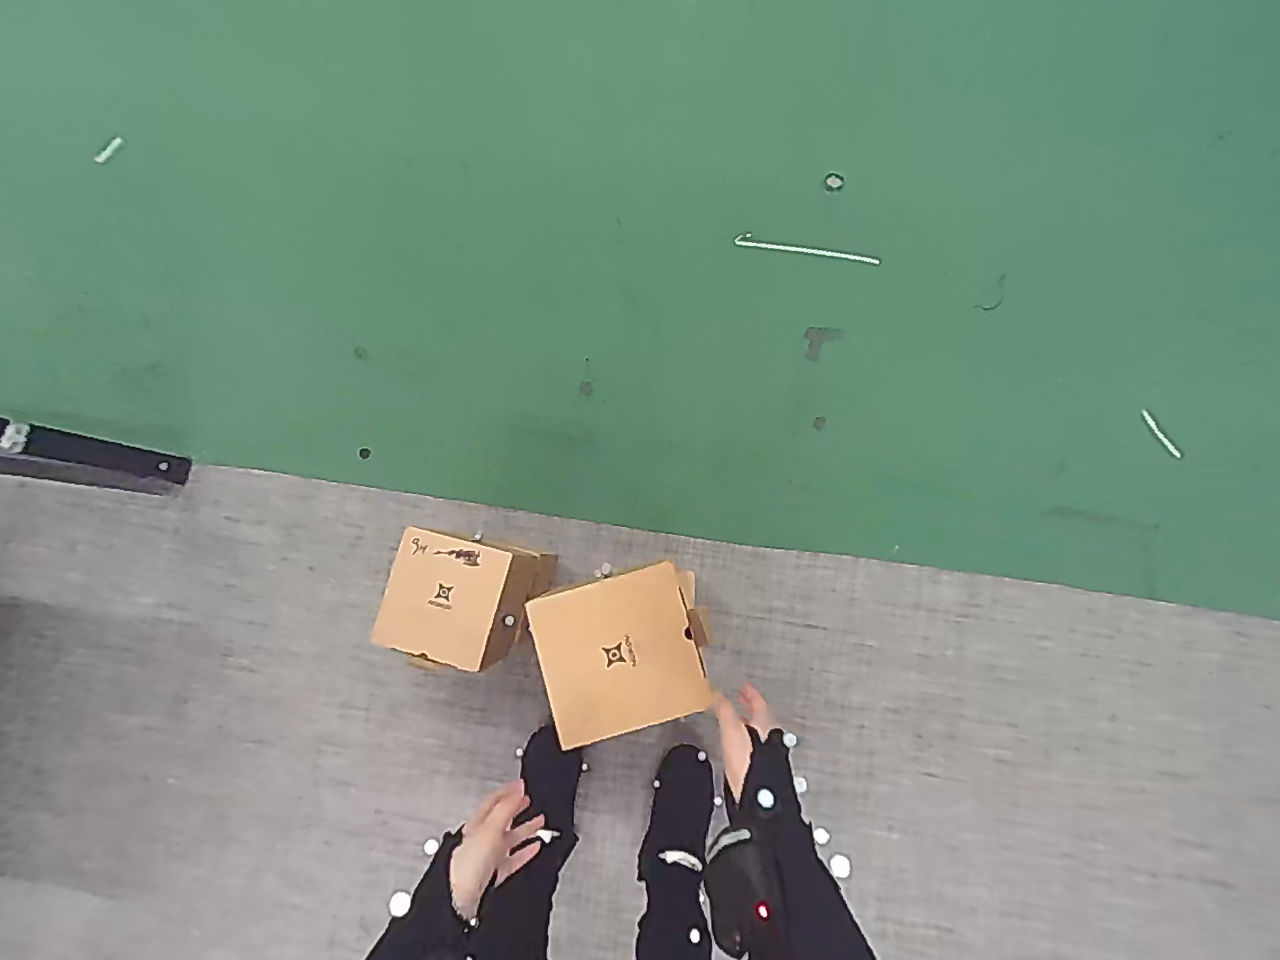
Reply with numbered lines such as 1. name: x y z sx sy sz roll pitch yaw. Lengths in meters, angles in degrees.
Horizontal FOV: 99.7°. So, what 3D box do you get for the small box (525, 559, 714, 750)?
1. small box: -0.022 0.200 0.664 0.179 0.176 0.168 -16 82 -2
